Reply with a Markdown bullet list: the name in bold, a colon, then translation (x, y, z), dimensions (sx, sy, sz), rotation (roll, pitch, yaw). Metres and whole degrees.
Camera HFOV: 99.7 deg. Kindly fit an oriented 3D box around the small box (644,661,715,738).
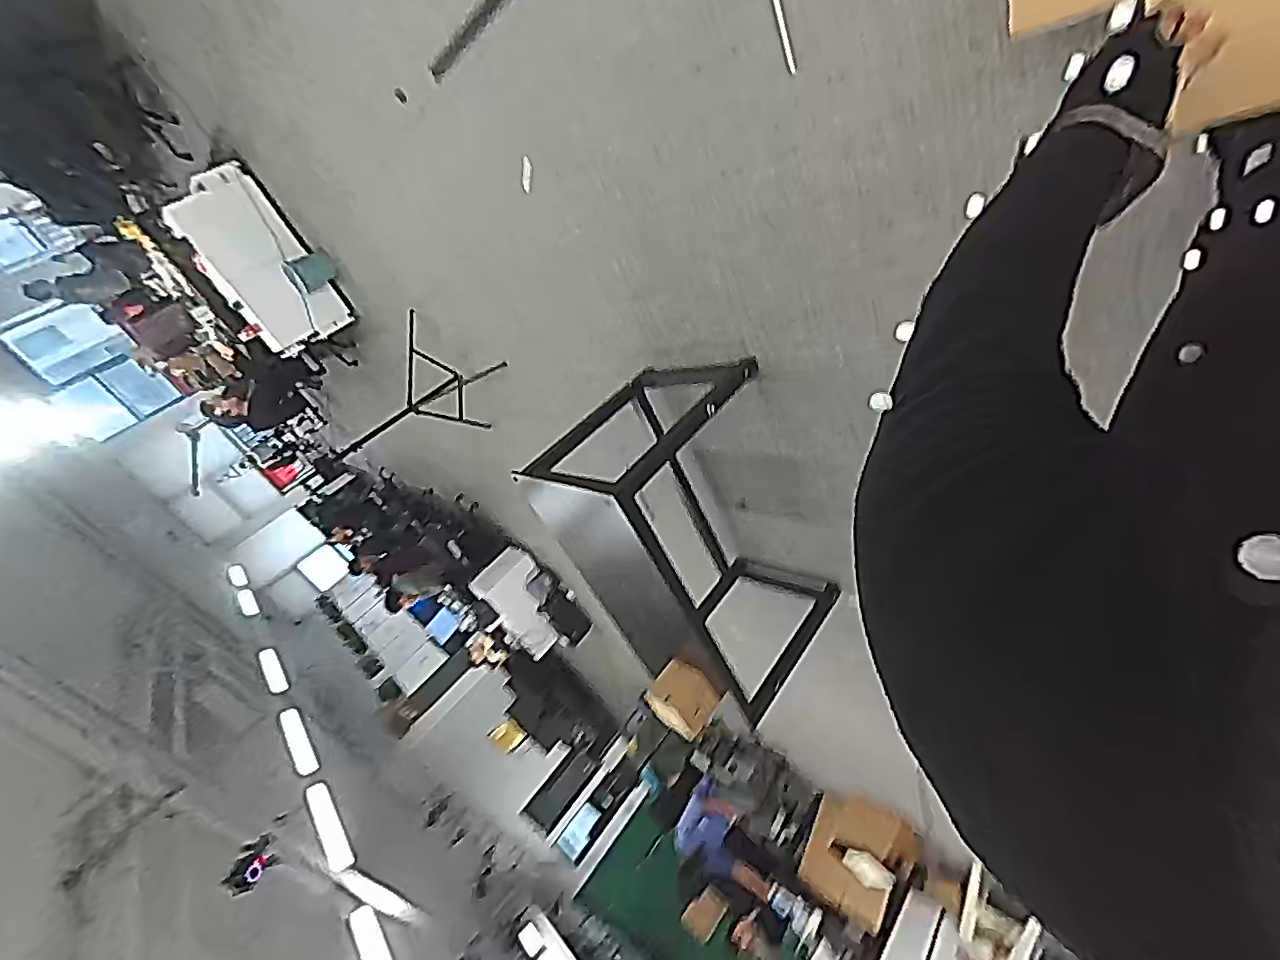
- **small box**: translation (0.152, 0.818, 2.026), dimensions (0.168, 0.176, 0.179), rotation (8, 135, 50)
